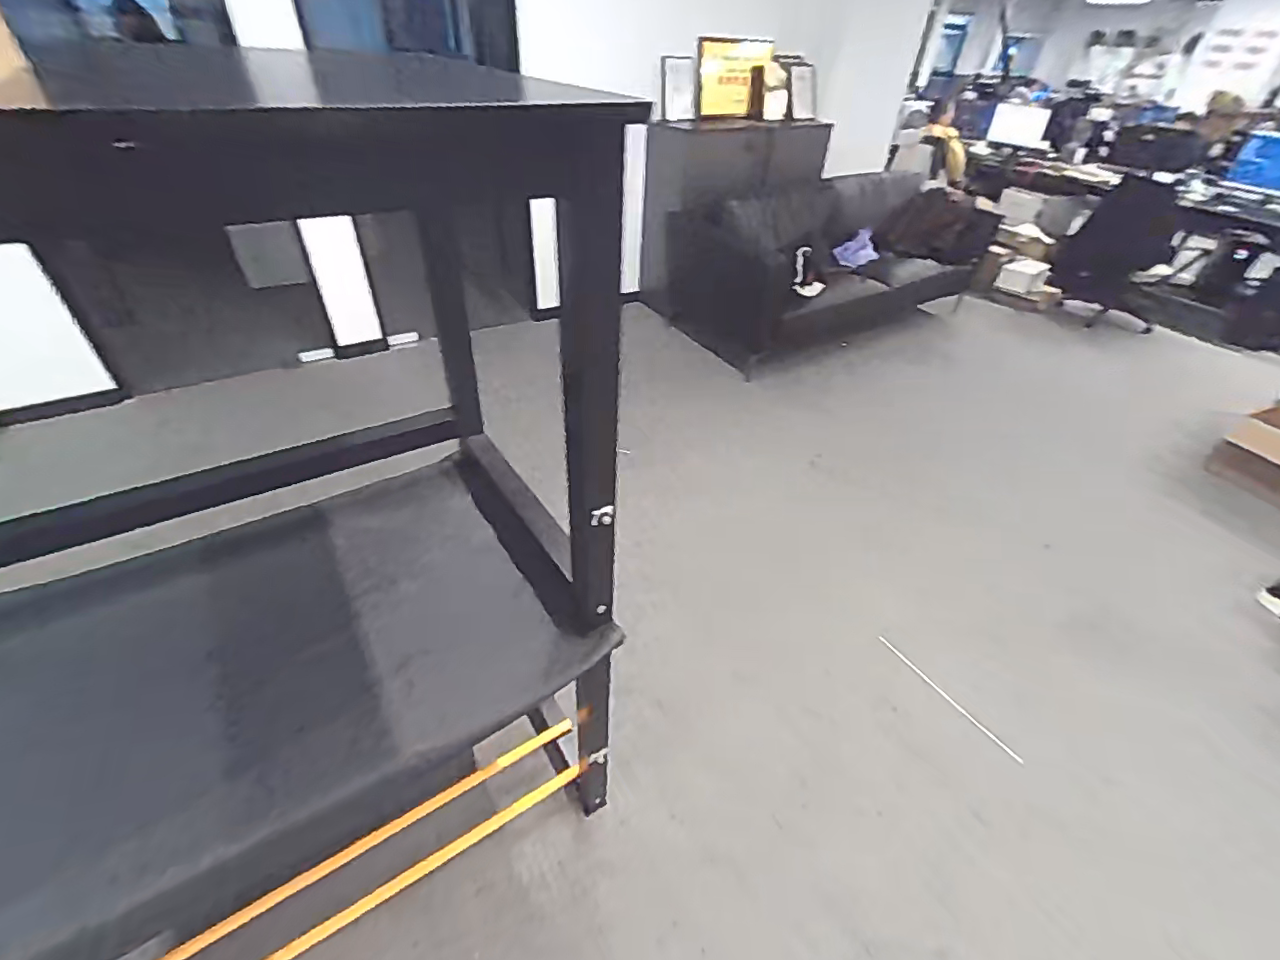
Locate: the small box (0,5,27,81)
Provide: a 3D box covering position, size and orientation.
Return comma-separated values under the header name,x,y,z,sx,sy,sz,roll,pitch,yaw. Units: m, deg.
name,x,y,z,sx,sy,sz,roll,pitch,yaw
small box,-0.483,-0.307,0.277,0.168,0.176,0.179,-20,45,-27
